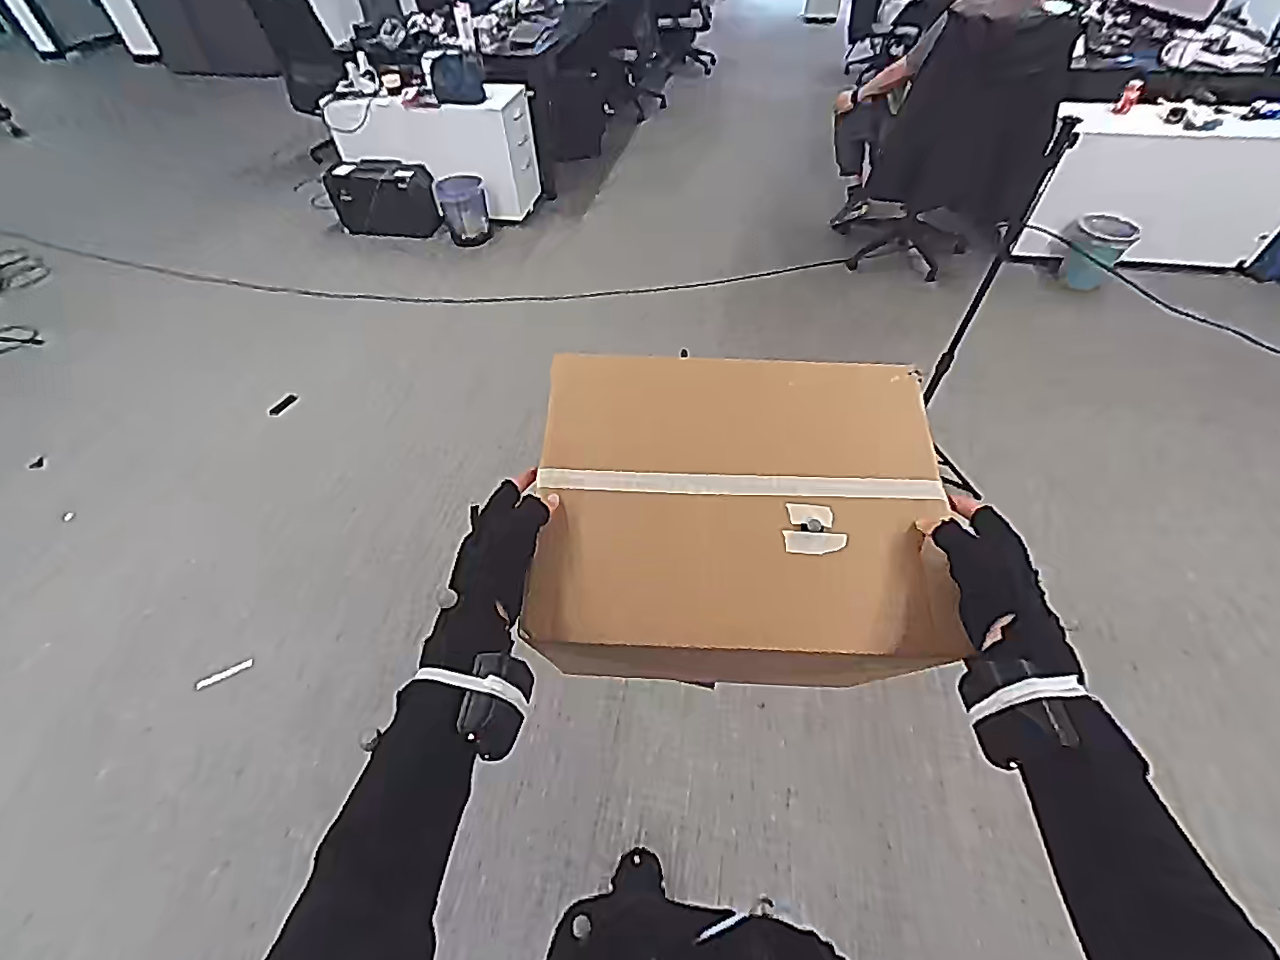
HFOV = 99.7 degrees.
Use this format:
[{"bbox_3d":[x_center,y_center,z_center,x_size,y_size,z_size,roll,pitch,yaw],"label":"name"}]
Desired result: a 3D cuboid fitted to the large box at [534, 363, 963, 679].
[{"bbox_3d":[0.100,0.073,0.691,0.408,0.320,0.320,2,65,1],"label":"large box"}]
